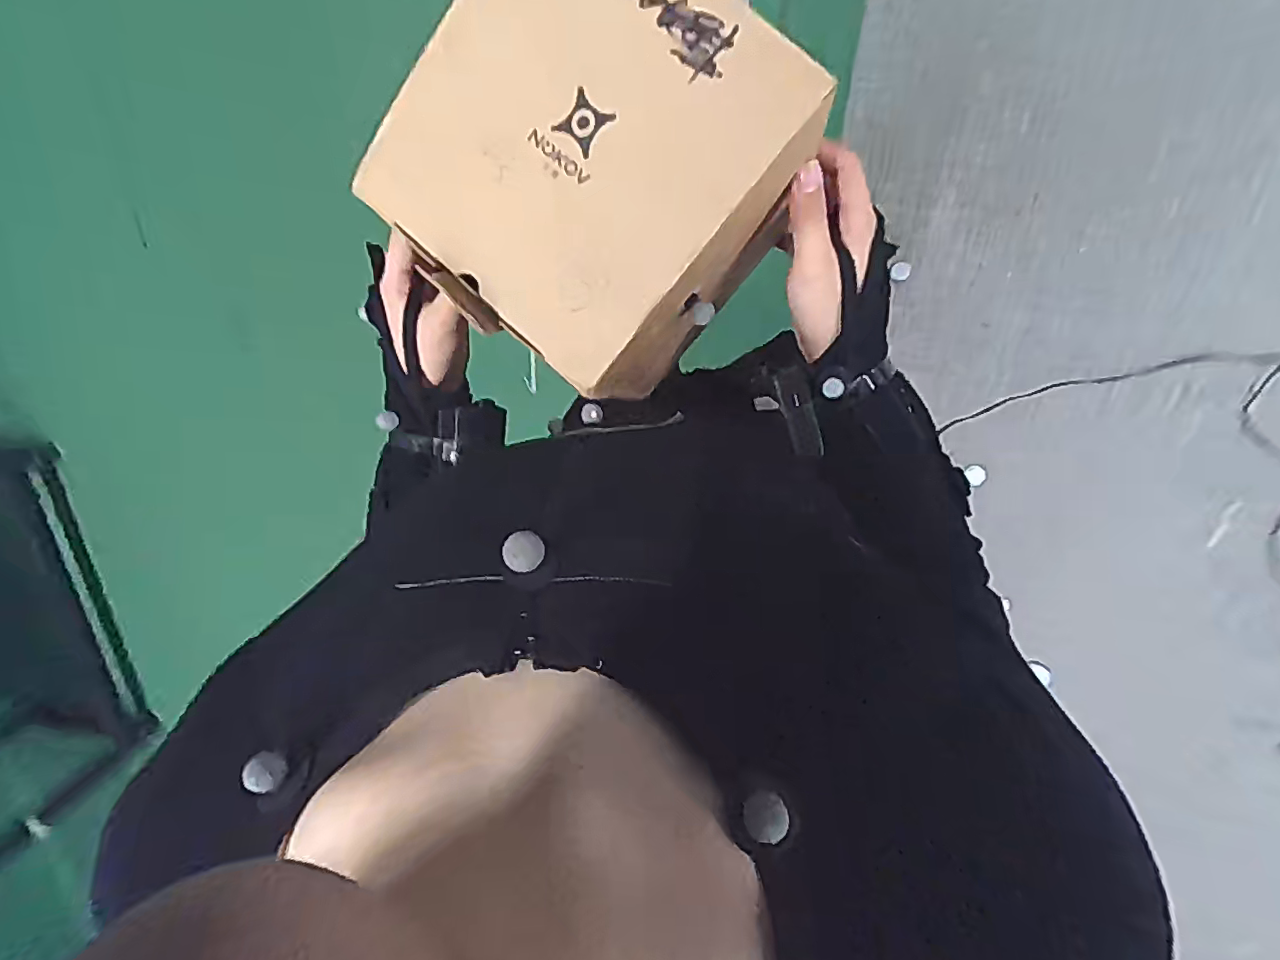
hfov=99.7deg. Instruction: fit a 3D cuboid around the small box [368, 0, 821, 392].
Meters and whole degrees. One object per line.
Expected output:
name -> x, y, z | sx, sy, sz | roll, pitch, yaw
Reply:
small box -> -0.016, -0.171, 0.339 | 0.168, 0.176, 0.179 | 42, 103, 2
